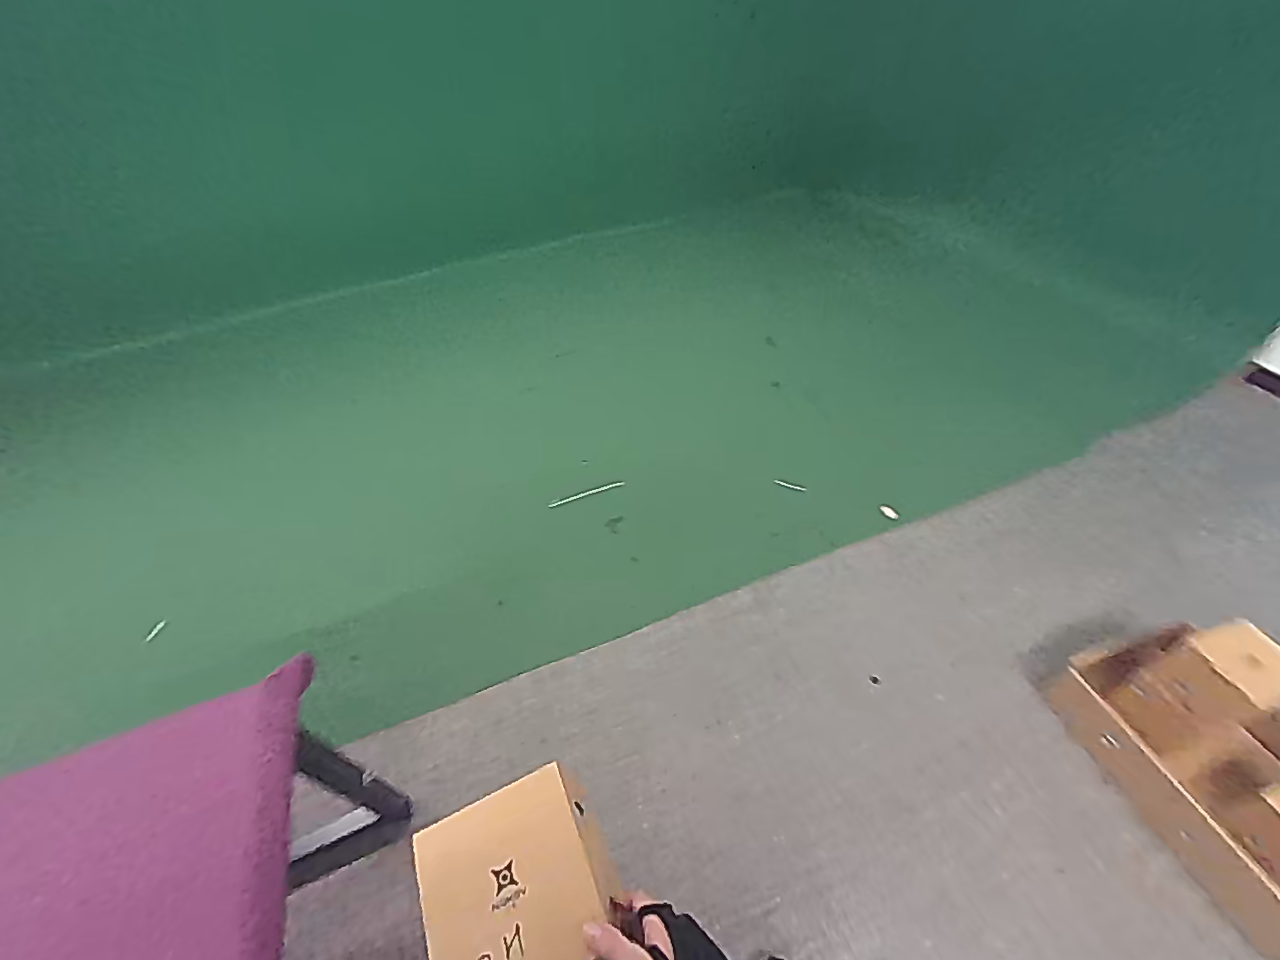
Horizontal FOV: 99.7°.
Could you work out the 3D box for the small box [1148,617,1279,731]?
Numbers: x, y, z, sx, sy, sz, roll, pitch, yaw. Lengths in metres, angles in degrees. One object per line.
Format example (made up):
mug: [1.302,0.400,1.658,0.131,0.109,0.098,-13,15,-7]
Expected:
small box: [1.351,0.448,1.246,0.179,0.176,0.168,-15,47,-9]

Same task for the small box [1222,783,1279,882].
small box: [1.445,0.753,1.167,0.179,0.176,0.168,-16,45,-8]
